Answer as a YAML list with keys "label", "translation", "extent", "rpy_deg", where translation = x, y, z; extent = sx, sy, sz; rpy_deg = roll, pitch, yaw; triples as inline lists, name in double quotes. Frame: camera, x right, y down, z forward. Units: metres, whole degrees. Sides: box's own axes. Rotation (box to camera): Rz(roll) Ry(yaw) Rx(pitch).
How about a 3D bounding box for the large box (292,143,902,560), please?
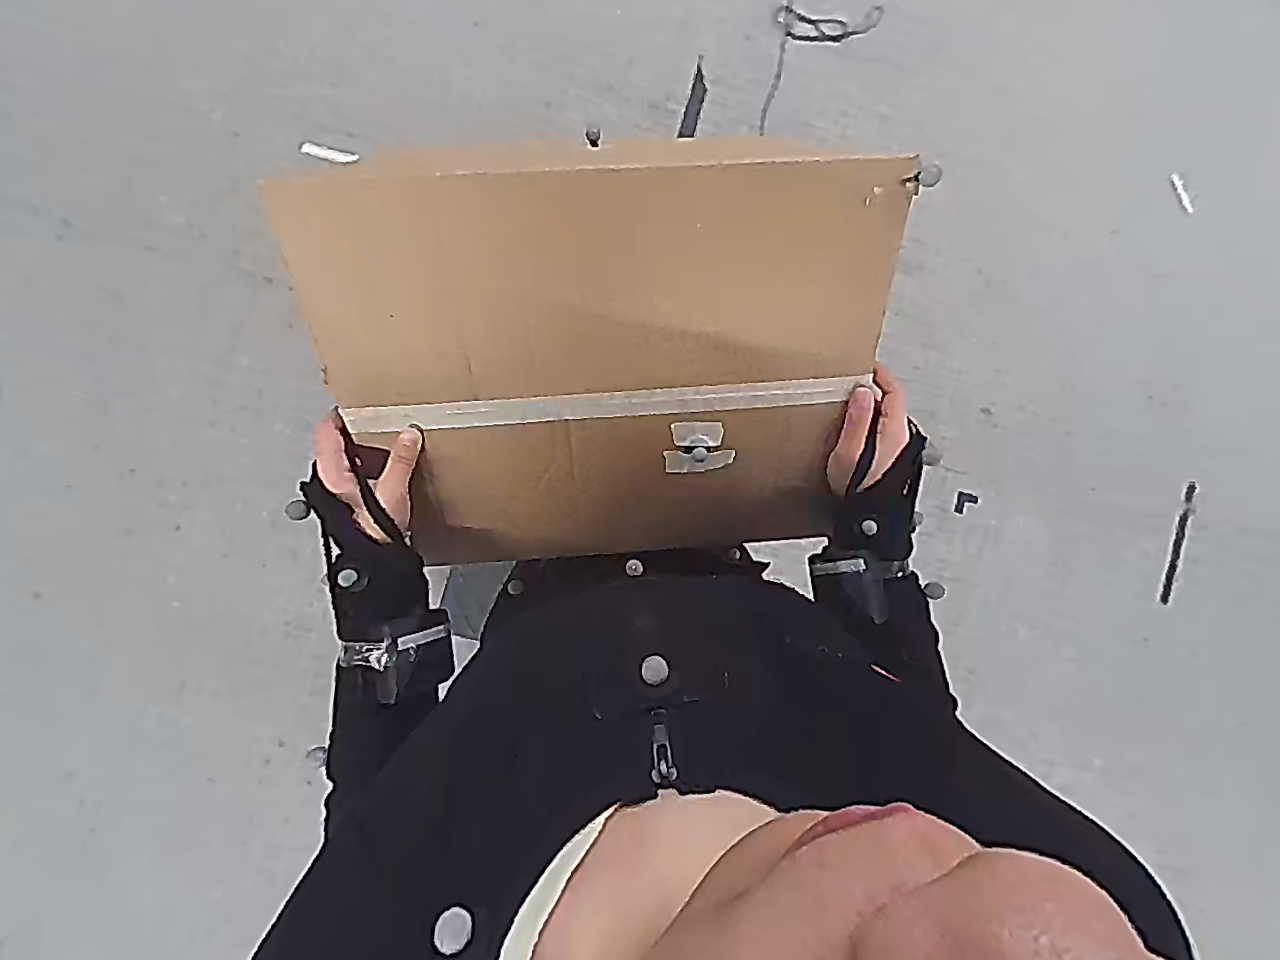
- label: "large box"
  translation: [-0.032, -0.150, 0.552]
  extent: [0.408, 0.320, 0.320]
  rpy_deg: [-4, 126, -3]
